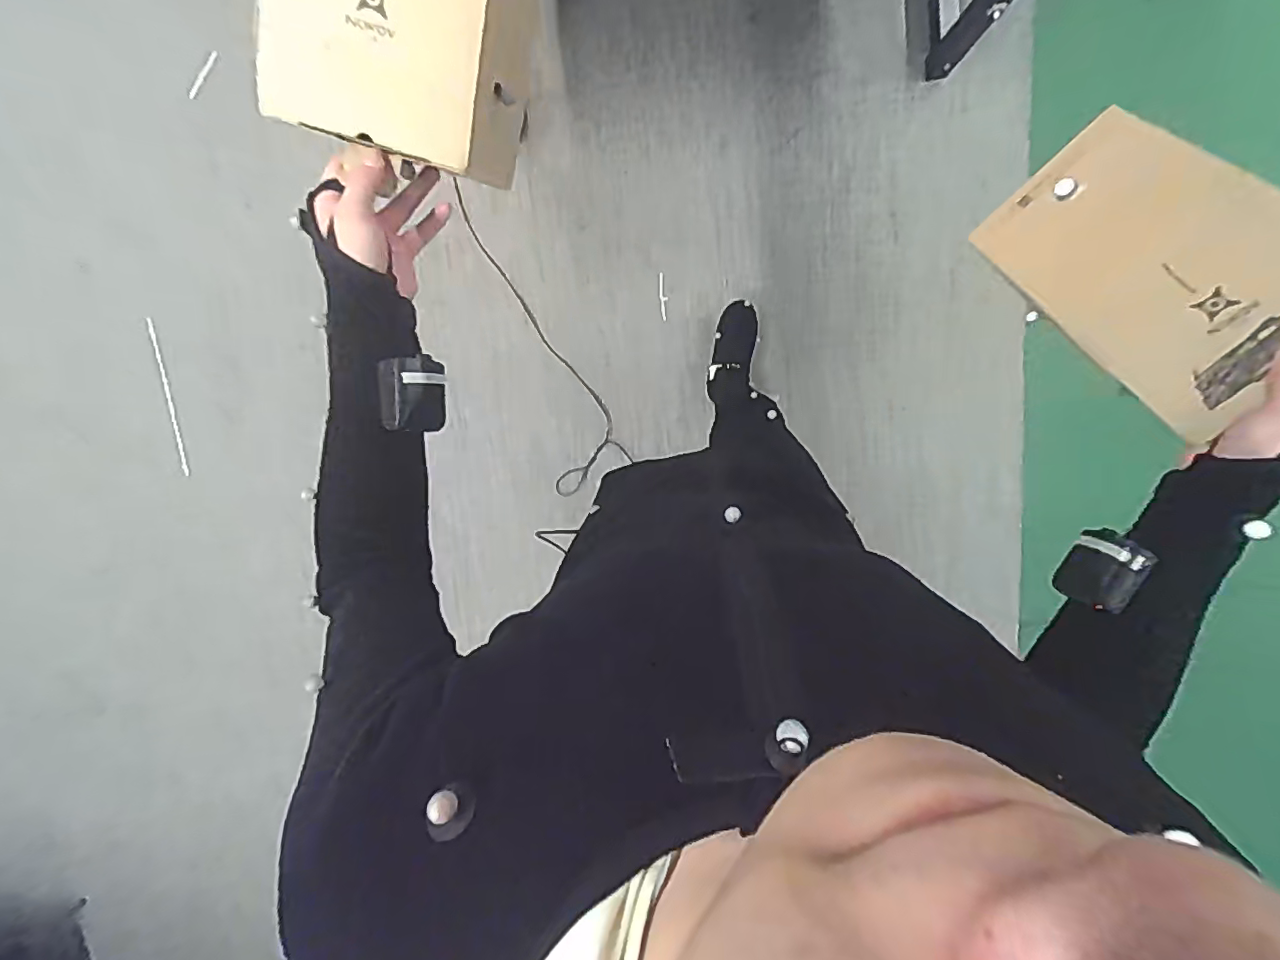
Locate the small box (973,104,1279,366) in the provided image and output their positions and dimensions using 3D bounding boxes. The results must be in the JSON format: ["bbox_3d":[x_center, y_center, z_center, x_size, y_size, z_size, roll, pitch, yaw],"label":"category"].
[{"bbox_3d":[0.514,-0.261,0.586,0.179,0.176,0.168,17,133,-32],"label":"small box"}]

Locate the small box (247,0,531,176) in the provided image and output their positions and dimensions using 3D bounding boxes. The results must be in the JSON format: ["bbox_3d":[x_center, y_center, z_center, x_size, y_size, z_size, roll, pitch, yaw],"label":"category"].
[{"bbox_3d":[-0.200,-0.382,0.467,0.168,0.176,0.179,14,114,-5],"label":"small box"}]
